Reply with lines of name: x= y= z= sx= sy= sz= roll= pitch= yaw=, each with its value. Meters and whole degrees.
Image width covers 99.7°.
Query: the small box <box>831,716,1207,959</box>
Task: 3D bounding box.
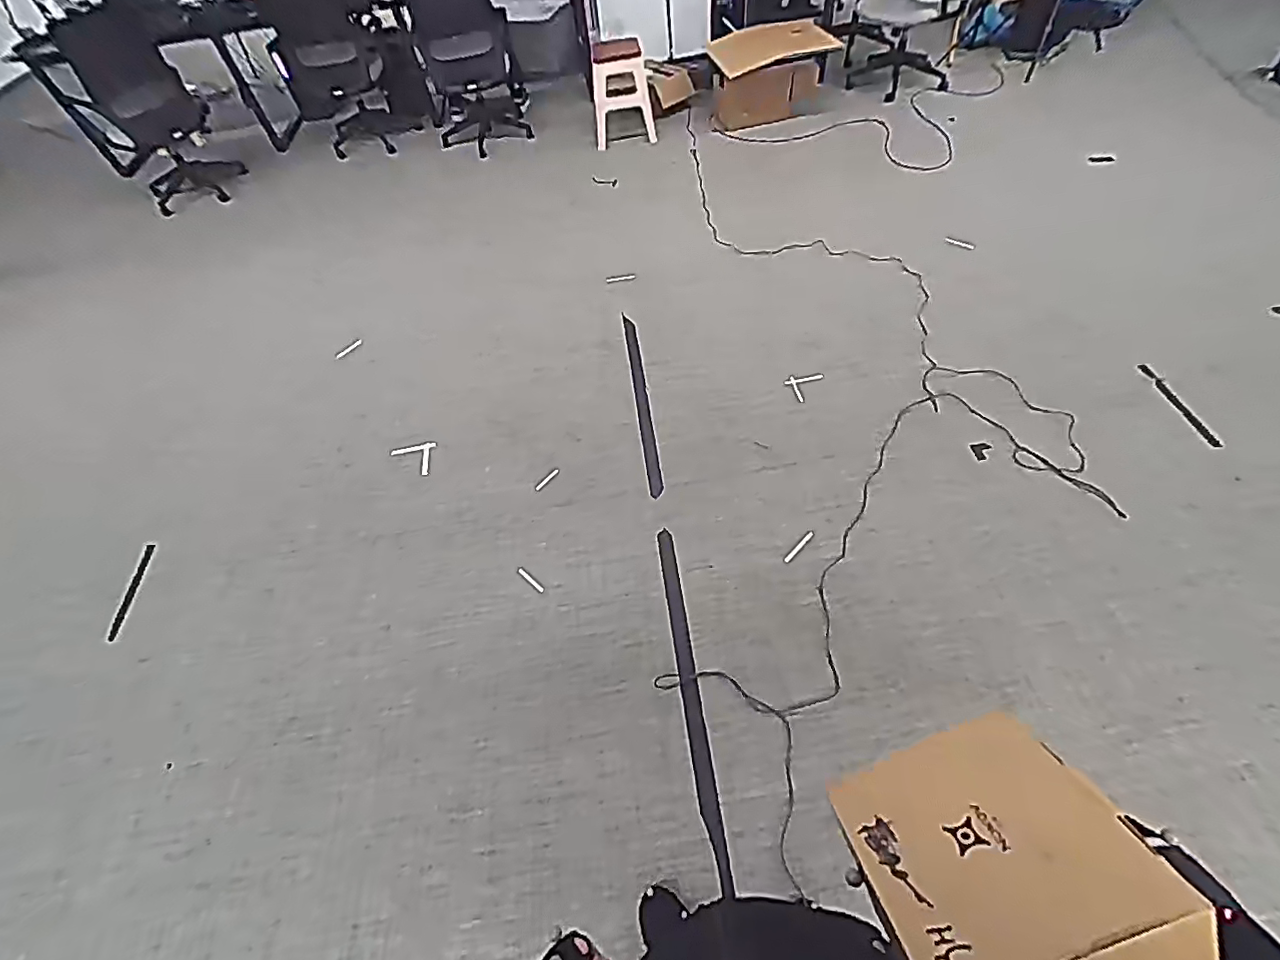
small box: x=0.286 y=0.336 z=0.431 sx=0.179 sy=0.176 sz=0.168 roll=-24 pitch=18 yaw=2
